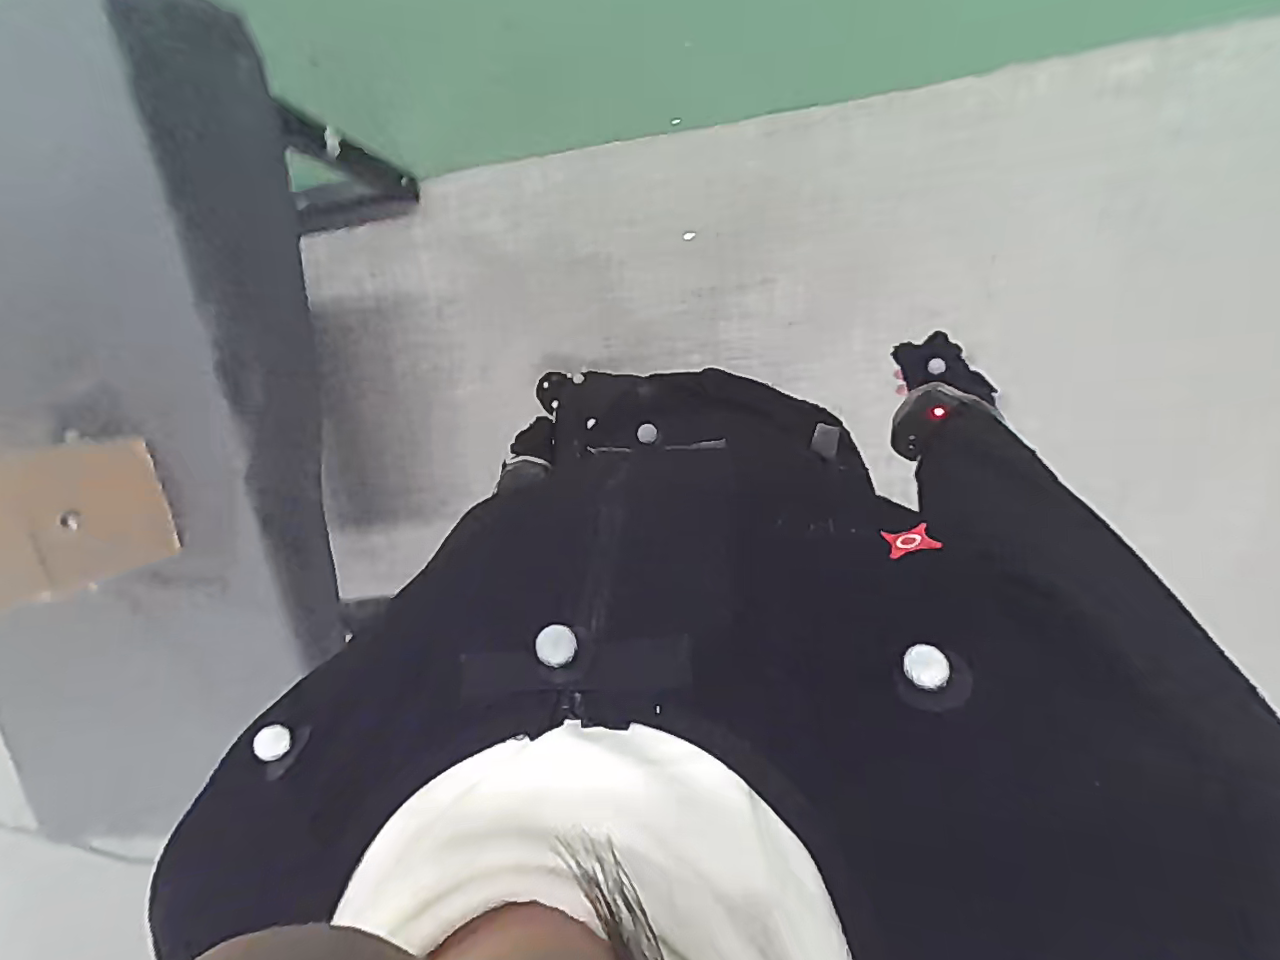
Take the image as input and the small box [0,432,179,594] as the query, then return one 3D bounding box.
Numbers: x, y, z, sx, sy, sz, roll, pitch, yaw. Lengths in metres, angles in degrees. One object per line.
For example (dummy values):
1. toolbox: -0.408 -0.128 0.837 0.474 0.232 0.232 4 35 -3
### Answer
1. small box: -0.776 0.040 0.722 0.168 0.176 0.179 -7 101 9
